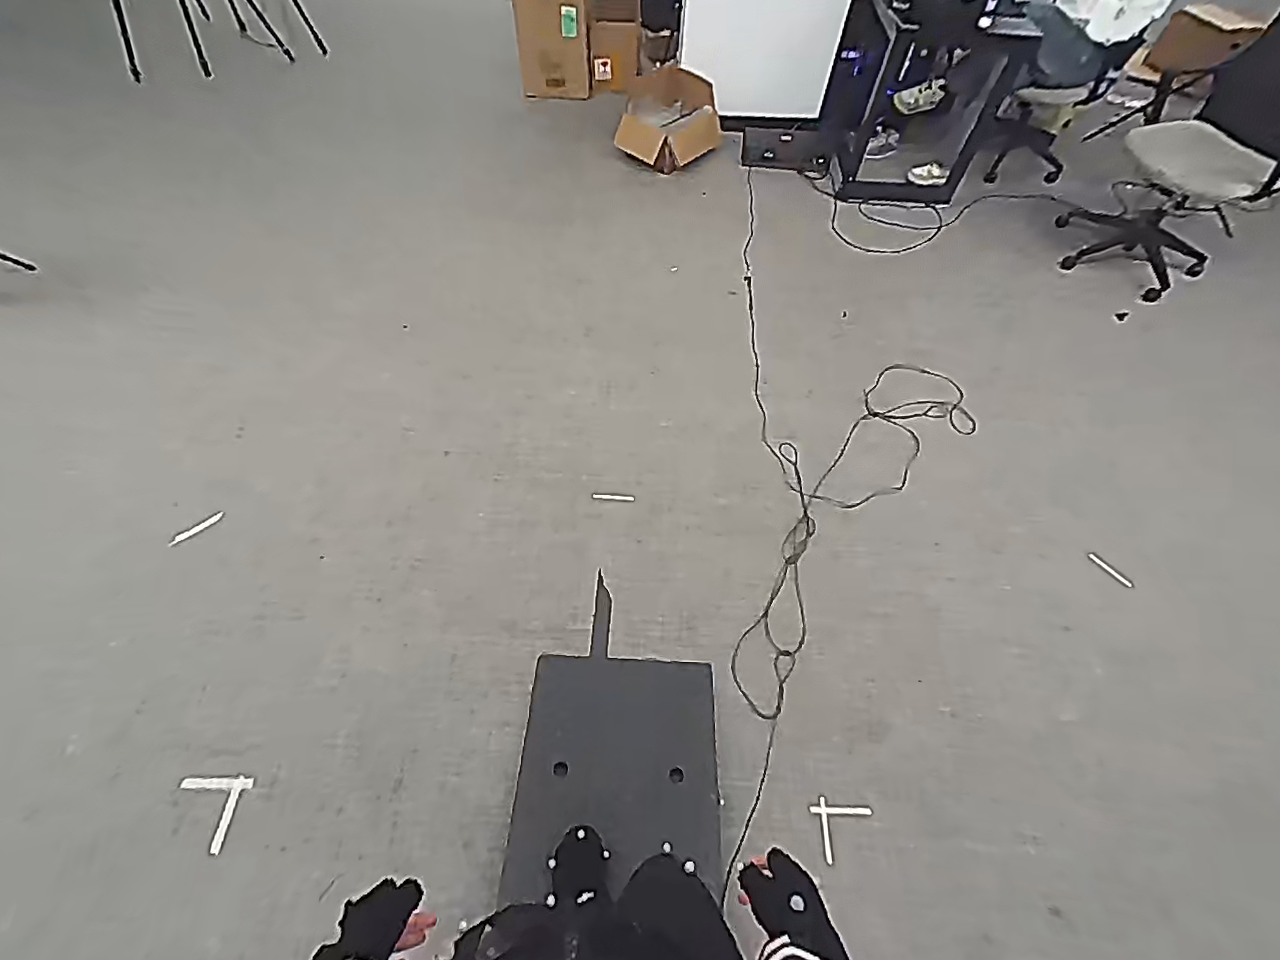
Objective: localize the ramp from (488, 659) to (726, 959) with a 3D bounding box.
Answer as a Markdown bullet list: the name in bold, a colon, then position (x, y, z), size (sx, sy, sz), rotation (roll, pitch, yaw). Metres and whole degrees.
- **ramp**: position (-0.063, 0.883, 1.192), size (0.509, 0.206, 0.991), rotation (1, 57, 0)
